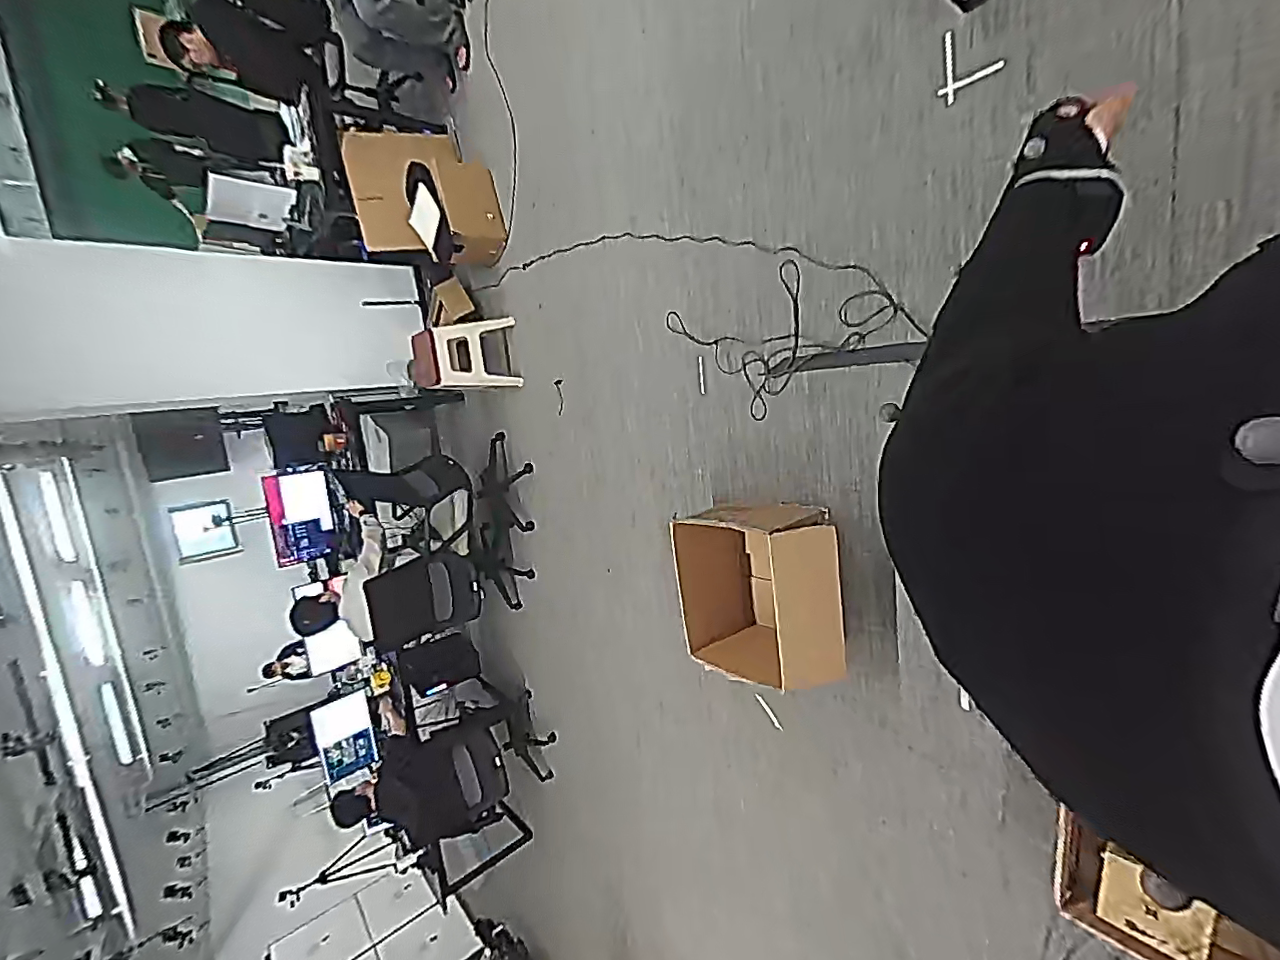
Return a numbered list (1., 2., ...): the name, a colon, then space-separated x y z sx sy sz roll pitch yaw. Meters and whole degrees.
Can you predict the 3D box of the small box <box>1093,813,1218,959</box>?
1. small box: 1.093 0.859 1.146 0.168 0.176 0.179 11 107 48
